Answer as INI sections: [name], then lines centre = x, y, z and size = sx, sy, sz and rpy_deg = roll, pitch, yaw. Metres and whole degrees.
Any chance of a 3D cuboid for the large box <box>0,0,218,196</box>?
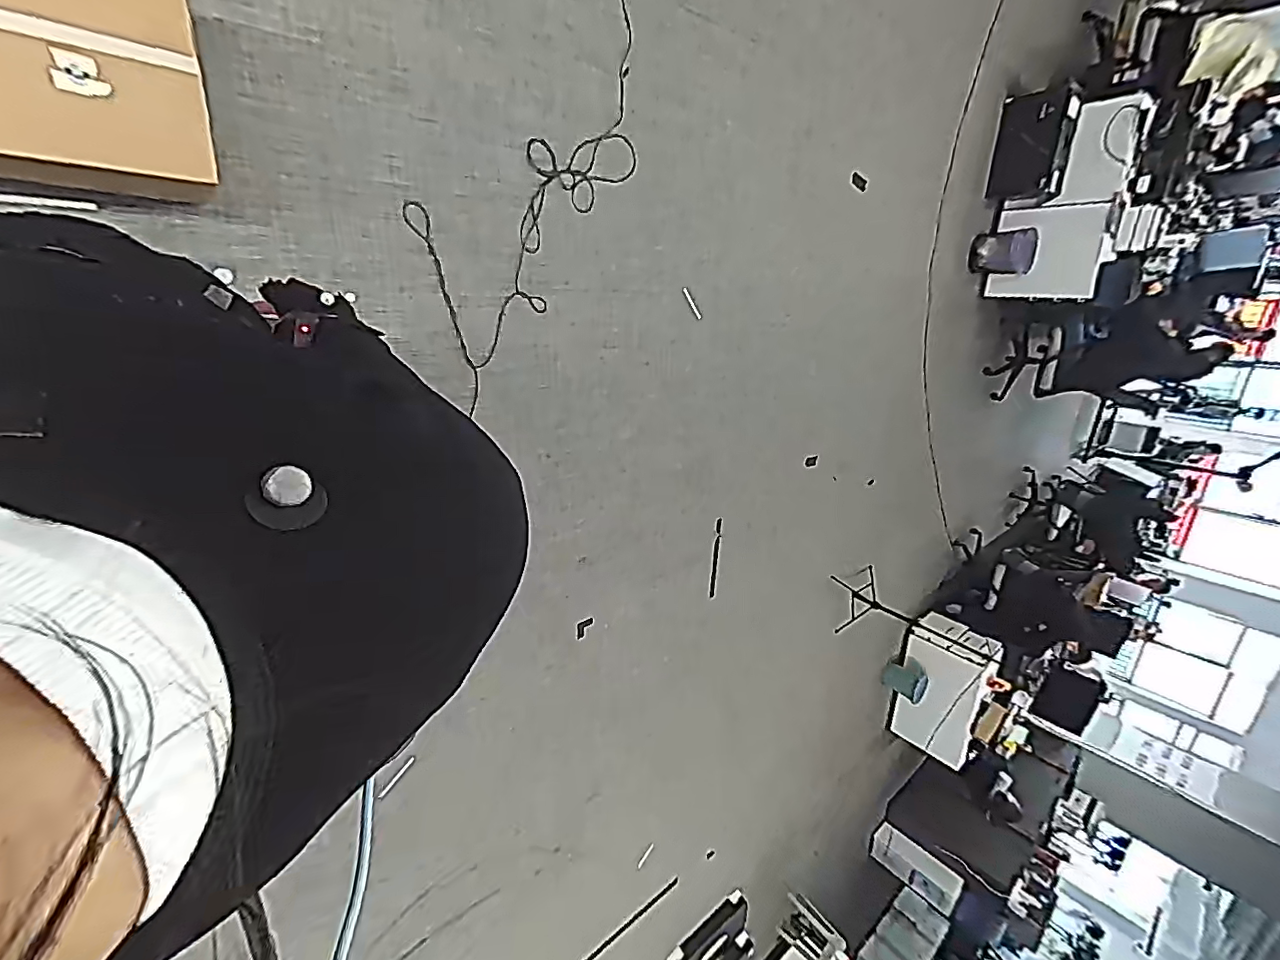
[large box]
centre = -0.910, -0.630, 0.790
size = 0.408, 0.320, 0.320
rpy_deg = -13, 114, -40
